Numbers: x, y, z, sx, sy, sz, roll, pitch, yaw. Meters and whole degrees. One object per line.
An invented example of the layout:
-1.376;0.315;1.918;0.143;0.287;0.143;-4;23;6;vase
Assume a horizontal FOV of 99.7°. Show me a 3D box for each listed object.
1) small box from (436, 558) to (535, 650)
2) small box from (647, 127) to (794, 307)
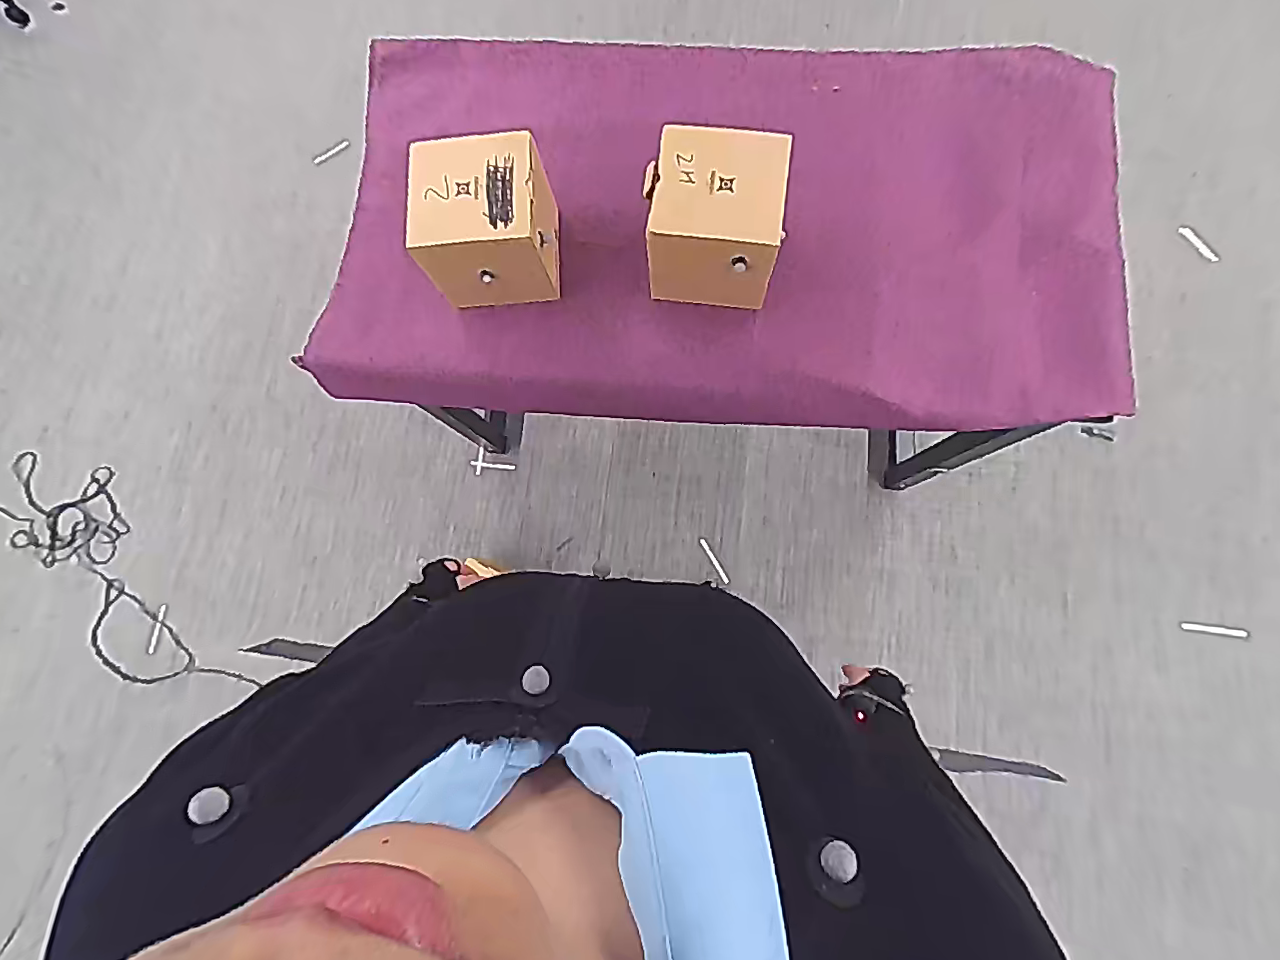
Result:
-0.402;0.327;1.443;0.168;0.176;0.179;28;82;8;small box
0.112;-0.371;0.787;0.179;0.176;0.168;8;79;6;small box
